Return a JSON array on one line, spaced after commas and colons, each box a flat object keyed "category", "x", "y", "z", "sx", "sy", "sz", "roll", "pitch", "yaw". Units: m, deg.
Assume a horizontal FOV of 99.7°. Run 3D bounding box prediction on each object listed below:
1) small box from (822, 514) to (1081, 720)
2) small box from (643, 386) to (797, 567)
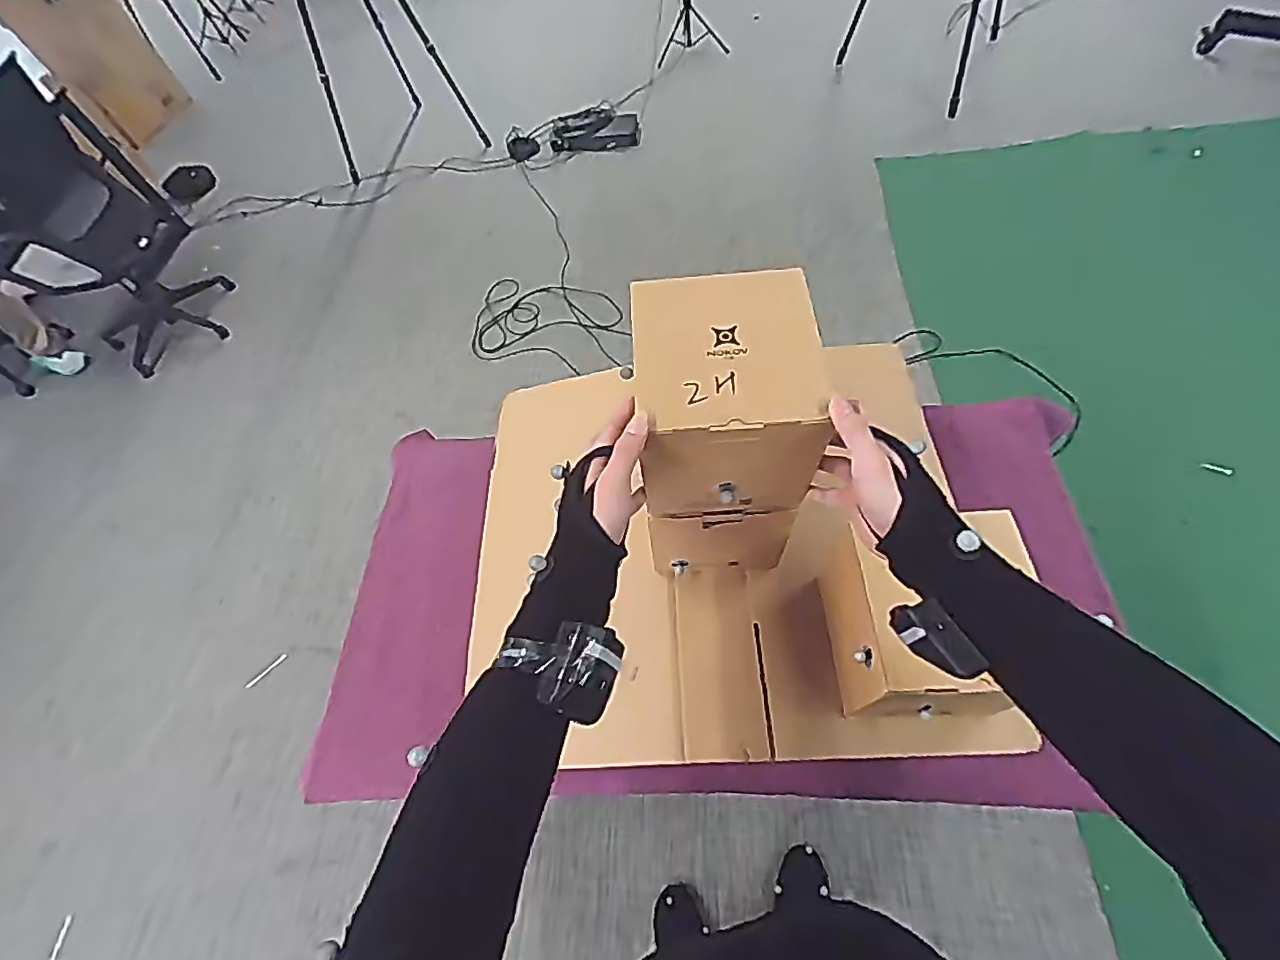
[{"category": "small box", "x": 0.306, "y": 0.153, "z": 0.582, "sx": 0.168, "sy": 0.176, "sz": 0.179, "roll": -4, "pitch": 60, "yaw": 4}, {"category": "small box", "x": 0.093, "y": 0.005, "z": 0.687, "sx": 0.168, "sy": 0.176, "sz": 0.179, "roll": -3, "pitch": 59, "yaw": 3}]
